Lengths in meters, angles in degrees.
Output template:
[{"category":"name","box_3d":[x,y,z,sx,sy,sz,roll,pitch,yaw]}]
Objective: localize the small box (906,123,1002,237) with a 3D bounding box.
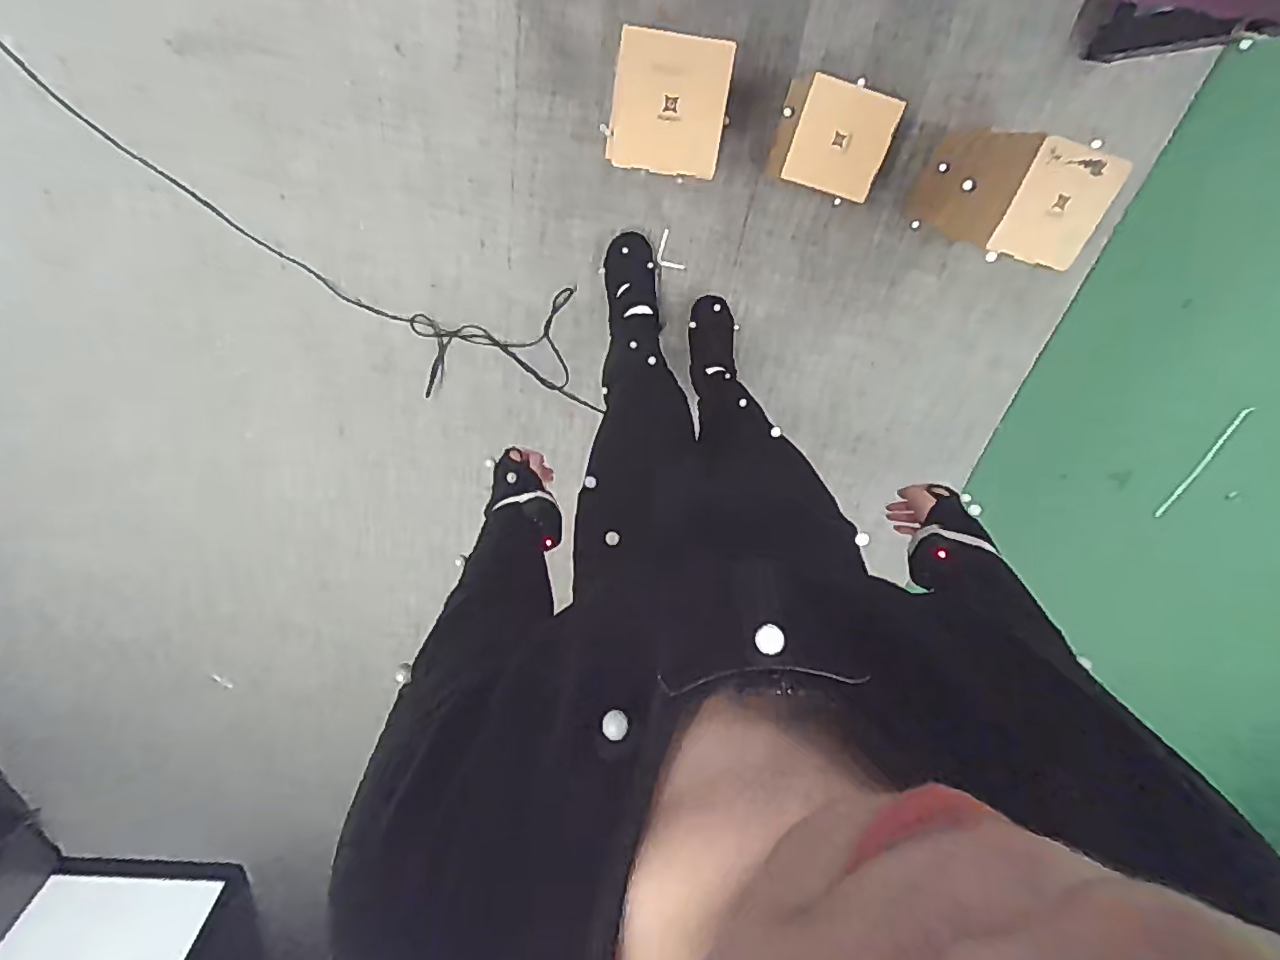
[{"category":"small box","box_3d":[0.671,-0.591,1.090,0.168,0.176,0.179,15,120,-11]}]

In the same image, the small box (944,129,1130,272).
[{"category":"small box","box_3d":[0.676,-0.495,0.954,0.168,0.176,0.179,11,123,-11]}]
